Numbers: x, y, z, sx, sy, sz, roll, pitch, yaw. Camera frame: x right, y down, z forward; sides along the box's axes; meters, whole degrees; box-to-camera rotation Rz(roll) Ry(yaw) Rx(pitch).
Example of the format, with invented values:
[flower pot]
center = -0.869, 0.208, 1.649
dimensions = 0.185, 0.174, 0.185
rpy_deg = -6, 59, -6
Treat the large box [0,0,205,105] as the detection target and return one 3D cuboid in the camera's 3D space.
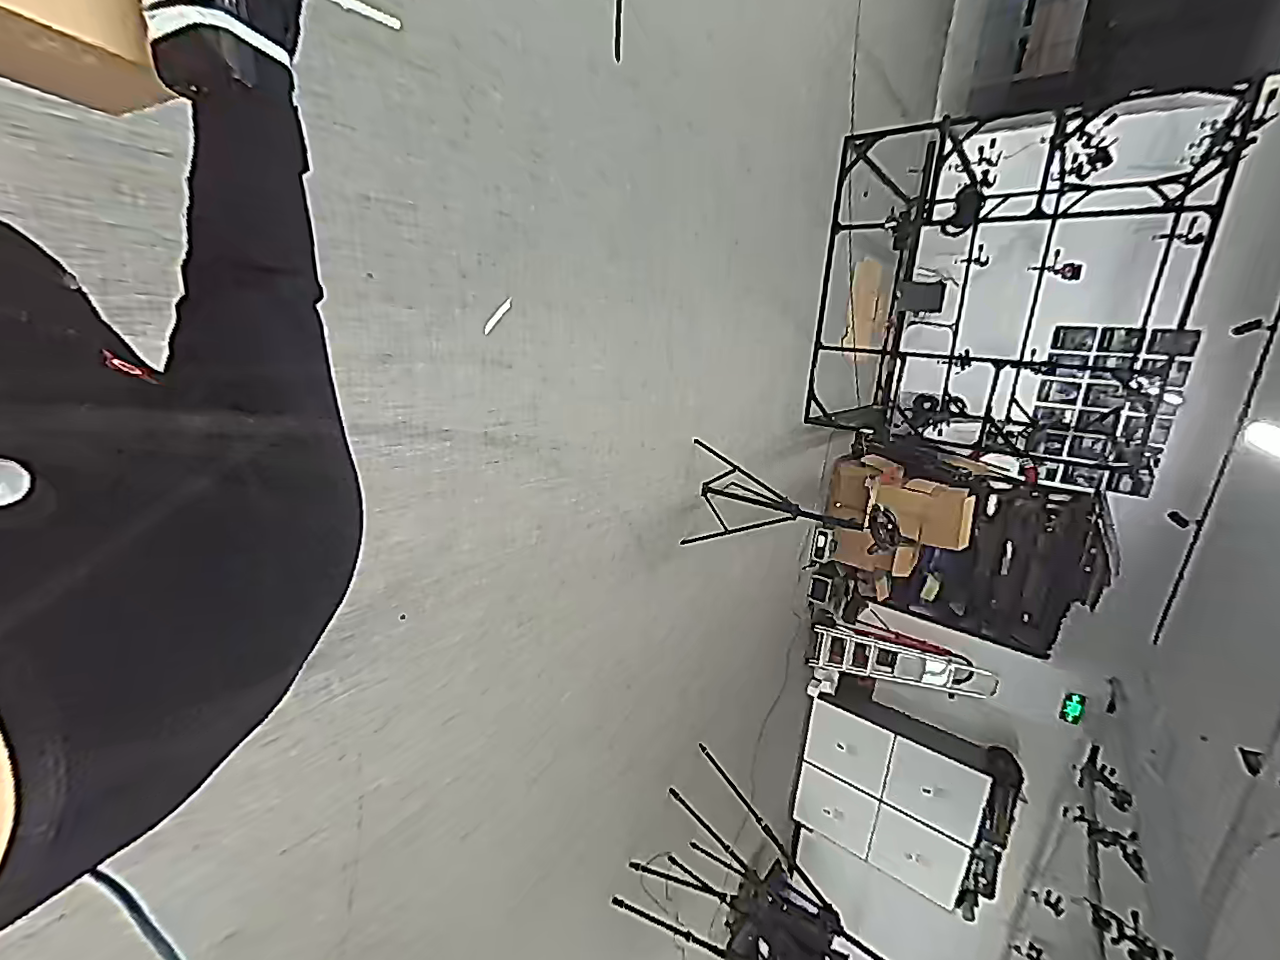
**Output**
[large box]
center = -0.535, -0.478, 0.298
dimensions = 0.408, 0.320, 0.320
rpy_deg = -6, 113, -53
